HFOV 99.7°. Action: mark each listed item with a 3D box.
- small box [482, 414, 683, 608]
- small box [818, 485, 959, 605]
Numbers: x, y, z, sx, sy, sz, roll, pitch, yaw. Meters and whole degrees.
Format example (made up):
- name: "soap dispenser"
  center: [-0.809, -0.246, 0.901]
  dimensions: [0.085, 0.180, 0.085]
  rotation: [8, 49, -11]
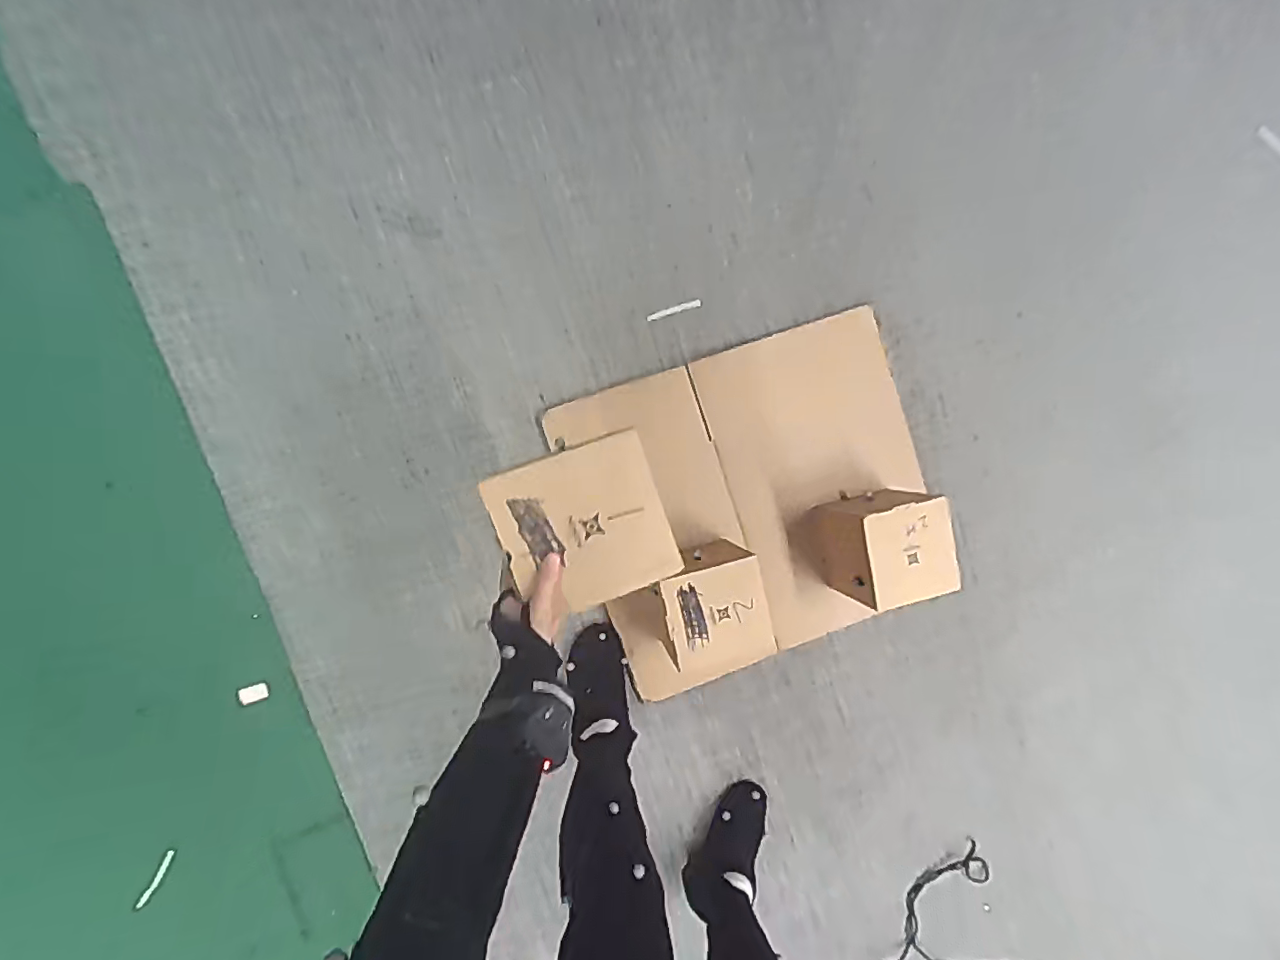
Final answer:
- name: "small box"
  center: [-0.070, 0.029, 0.648]
  dimensions: [0.179, 0.176, 0.168]
  rotation: [-19, 97, -9]
- name: "small box"
  center: [0.458, 0.113, 1.015]
  dimensions: [0.168, 0.176, 0.179]
  rotation: [-12, 95, -8]
